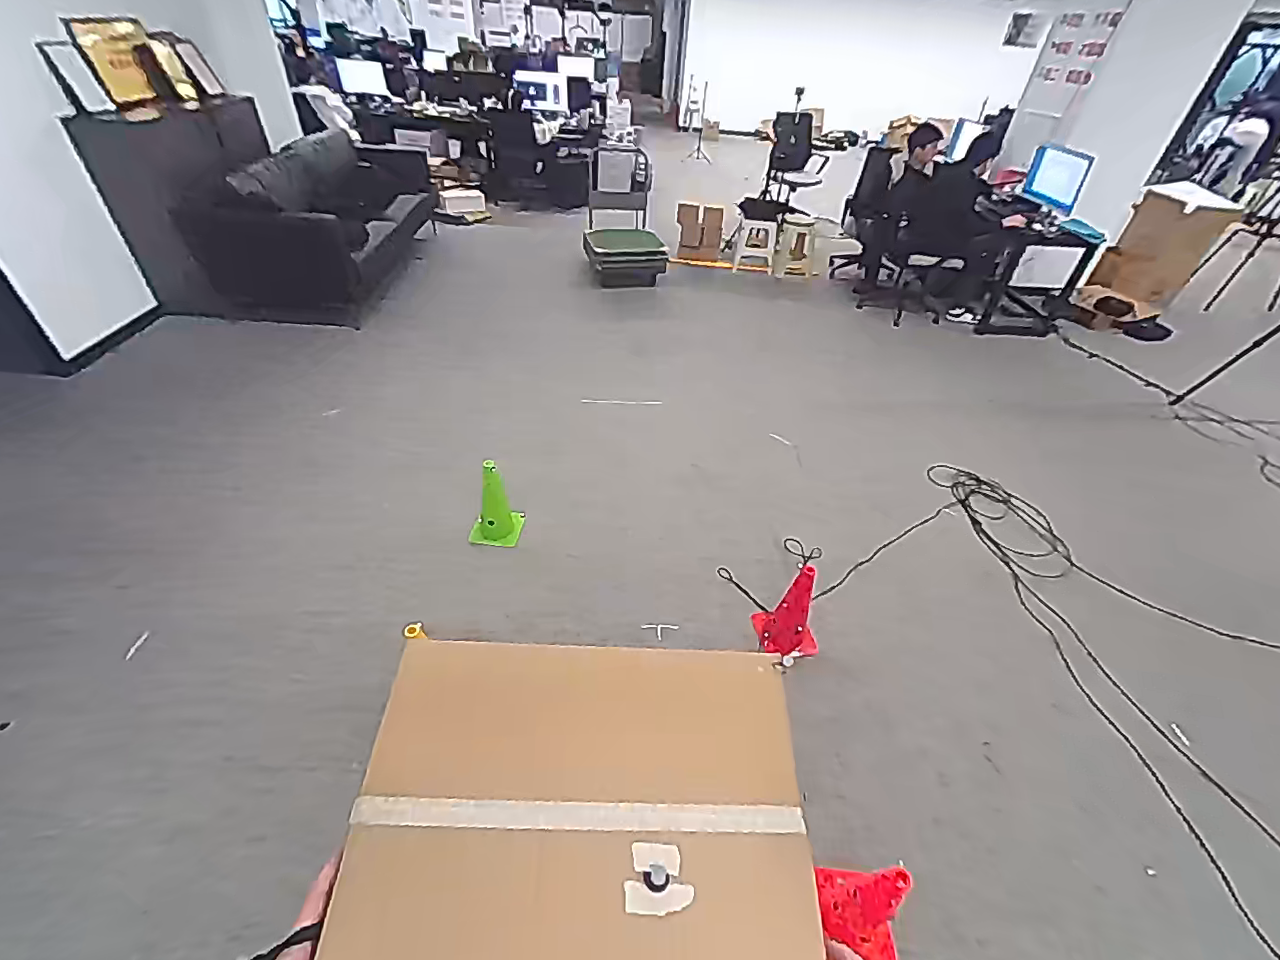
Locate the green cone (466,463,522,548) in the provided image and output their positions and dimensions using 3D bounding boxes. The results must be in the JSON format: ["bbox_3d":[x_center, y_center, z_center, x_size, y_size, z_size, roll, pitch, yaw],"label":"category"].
[{"bbox_3d":[-0.608,0.079,2.182,0.200,0.368,0.202,6,41,1],"label":"green cone"}]

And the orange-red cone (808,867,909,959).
[{"bbox_3d":[0.528,0.963,1.235,0.199,0.360,0.198,8,41,2],"label":"orange-red cone"}]

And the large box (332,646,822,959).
[{"bbox_3d":[-0.058,0.399,0.616,0.408,0.320,0.320,3,53,-2],"label":"large box"}]
